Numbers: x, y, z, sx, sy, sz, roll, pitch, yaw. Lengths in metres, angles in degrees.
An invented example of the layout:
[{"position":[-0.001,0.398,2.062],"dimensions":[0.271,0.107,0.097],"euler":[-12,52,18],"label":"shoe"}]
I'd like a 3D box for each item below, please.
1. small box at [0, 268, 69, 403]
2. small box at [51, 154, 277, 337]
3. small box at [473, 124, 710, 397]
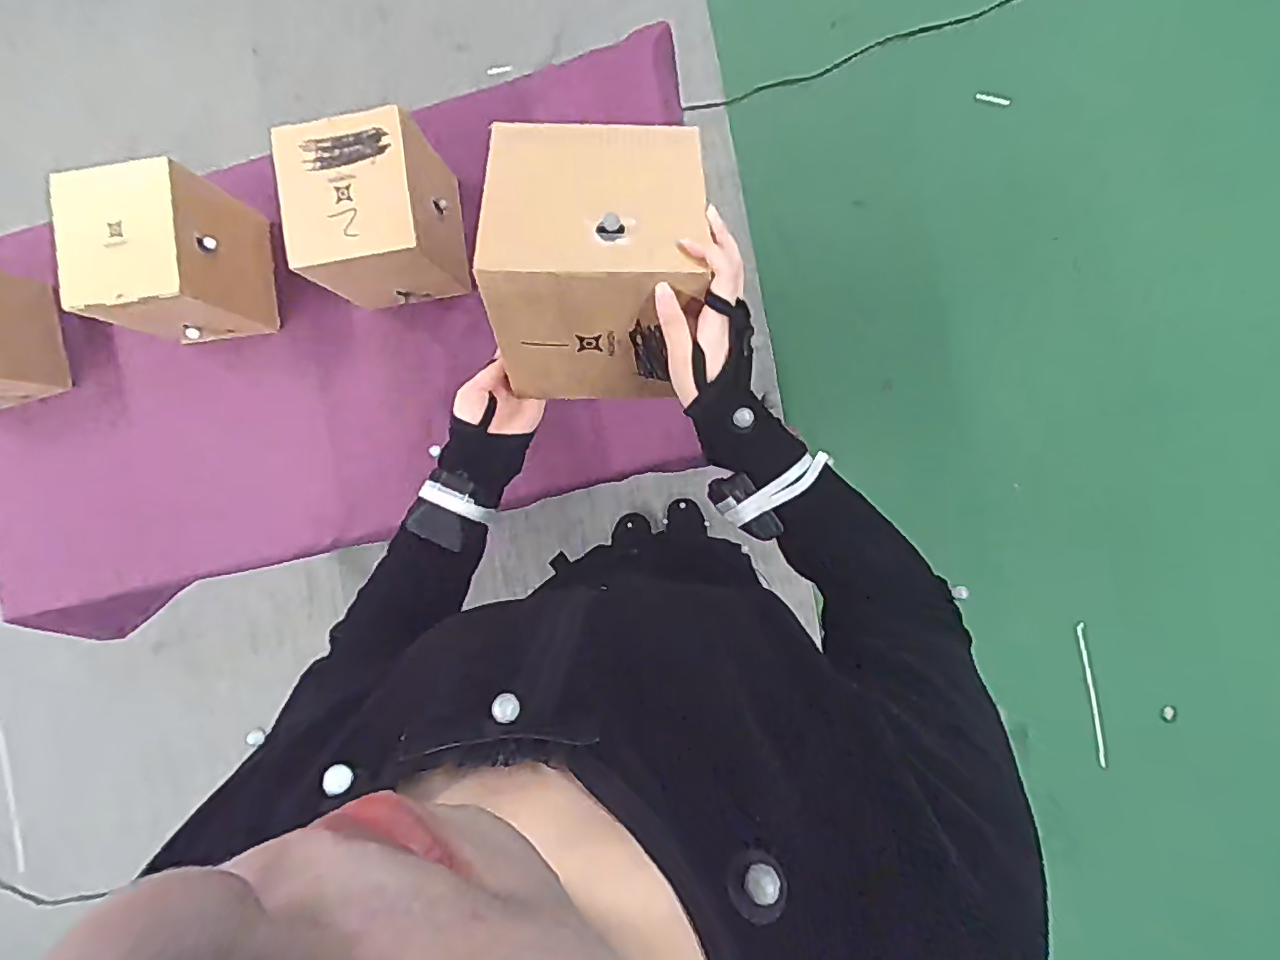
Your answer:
[{"position":[-1.004,-0.218,0.785],"dimensions":[0.168,0.176,0.179],"euler":[-13,89,5],"label":"small box"},{"position":[-0.650,-0.315,0.758],"dimensions":[0.168,0.176,0.179],"euler":[-5,91,5],"label":"small box"},{"position":[-0.040,-0.191,0.493],"dimensions":[0.179,0.168,0.176],"euler":[0,66,-2],"label":"small box"}]
